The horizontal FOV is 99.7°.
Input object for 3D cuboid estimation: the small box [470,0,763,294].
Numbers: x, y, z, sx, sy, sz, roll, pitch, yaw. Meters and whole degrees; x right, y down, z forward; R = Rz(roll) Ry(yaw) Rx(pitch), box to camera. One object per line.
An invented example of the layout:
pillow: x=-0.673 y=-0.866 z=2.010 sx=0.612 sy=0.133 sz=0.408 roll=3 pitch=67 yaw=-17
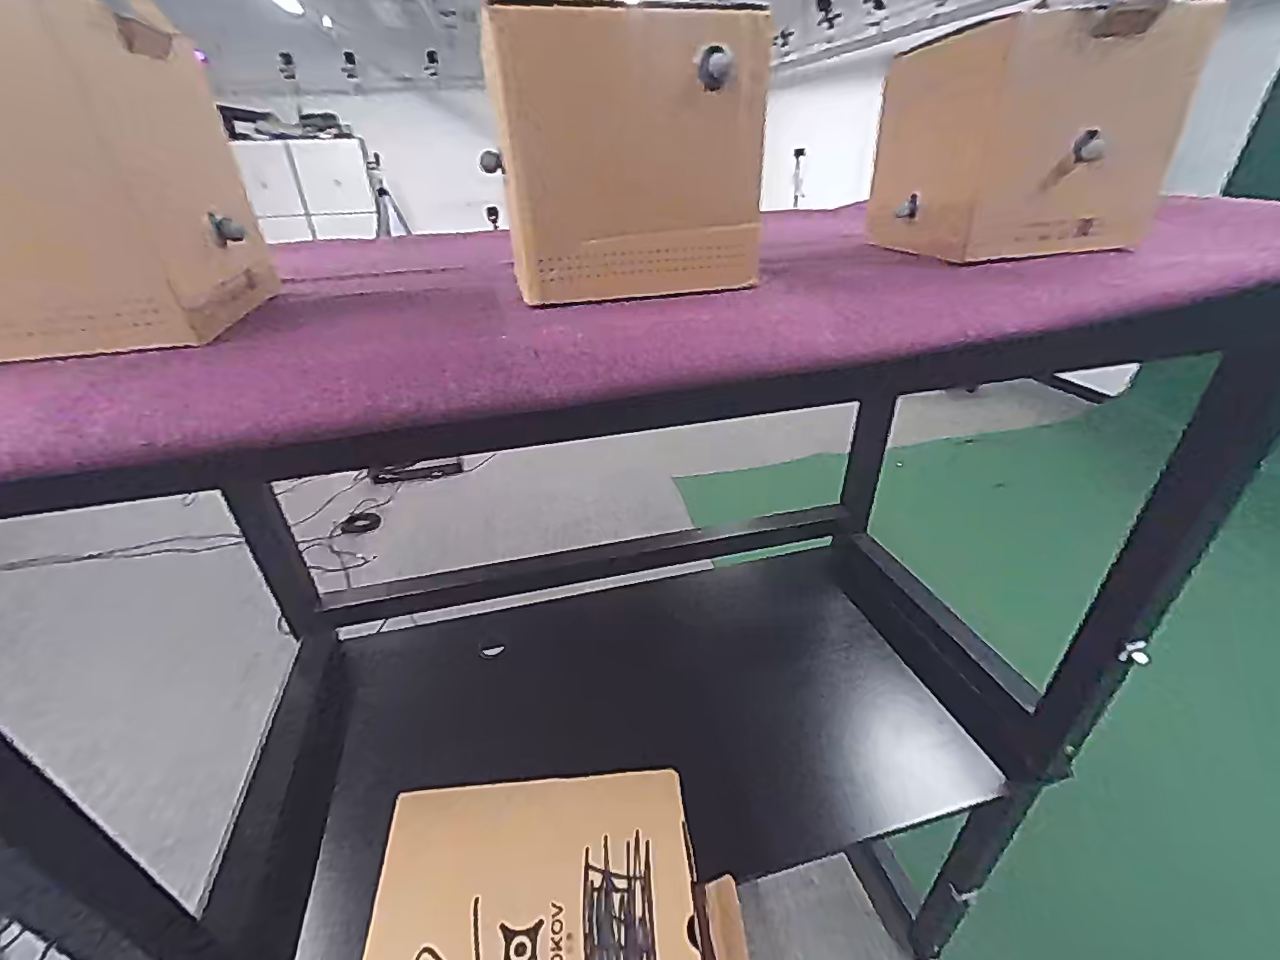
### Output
small box: x=-0.022 y=-0.243 z=0.410 sx=0.179 sy=0.176 sz=0.168 roll=-9 pitch=30 yaw=-12

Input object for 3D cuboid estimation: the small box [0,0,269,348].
small box: x=-0.367 y=-0.178 z=0.320 sx=0.179 sy=0.176 sz=0.168 roll=-9 pitch=33 yaw=-12

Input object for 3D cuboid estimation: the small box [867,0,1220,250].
small box: x=0.328 y=-0.306 z=0.482 sx=0.168 sy=0.176 sz=0.179 roll=-7 pitch=30 yaw=-5
